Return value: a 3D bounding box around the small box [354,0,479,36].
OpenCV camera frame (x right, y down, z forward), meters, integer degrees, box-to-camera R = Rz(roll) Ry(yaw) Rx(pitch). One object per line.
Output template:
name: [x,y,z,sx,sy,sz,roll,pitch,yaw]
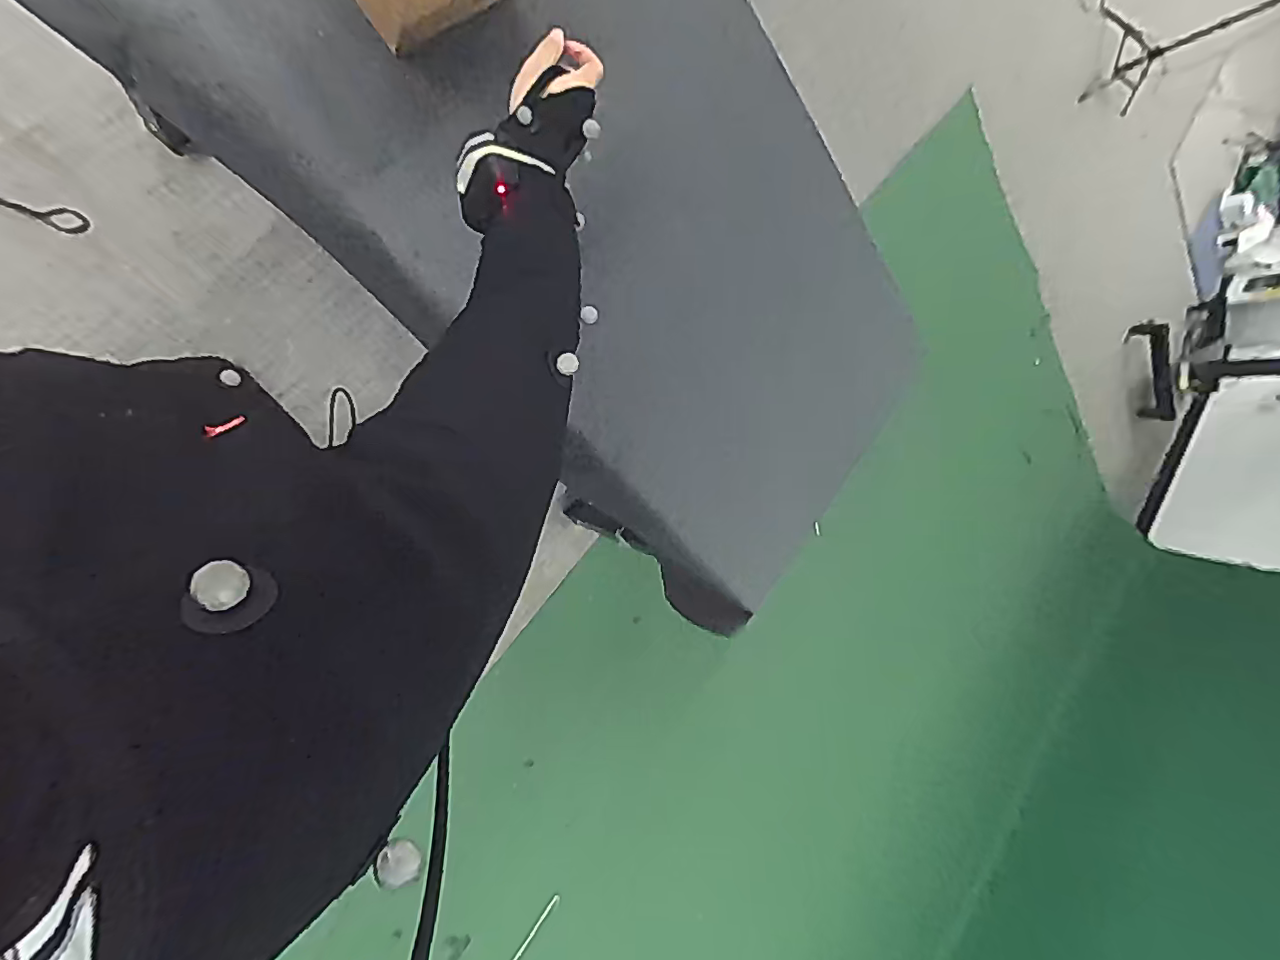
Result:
small box: [-0.205,-0.538,0.467,0.168,0.176,0.179,-48,116,-19]
